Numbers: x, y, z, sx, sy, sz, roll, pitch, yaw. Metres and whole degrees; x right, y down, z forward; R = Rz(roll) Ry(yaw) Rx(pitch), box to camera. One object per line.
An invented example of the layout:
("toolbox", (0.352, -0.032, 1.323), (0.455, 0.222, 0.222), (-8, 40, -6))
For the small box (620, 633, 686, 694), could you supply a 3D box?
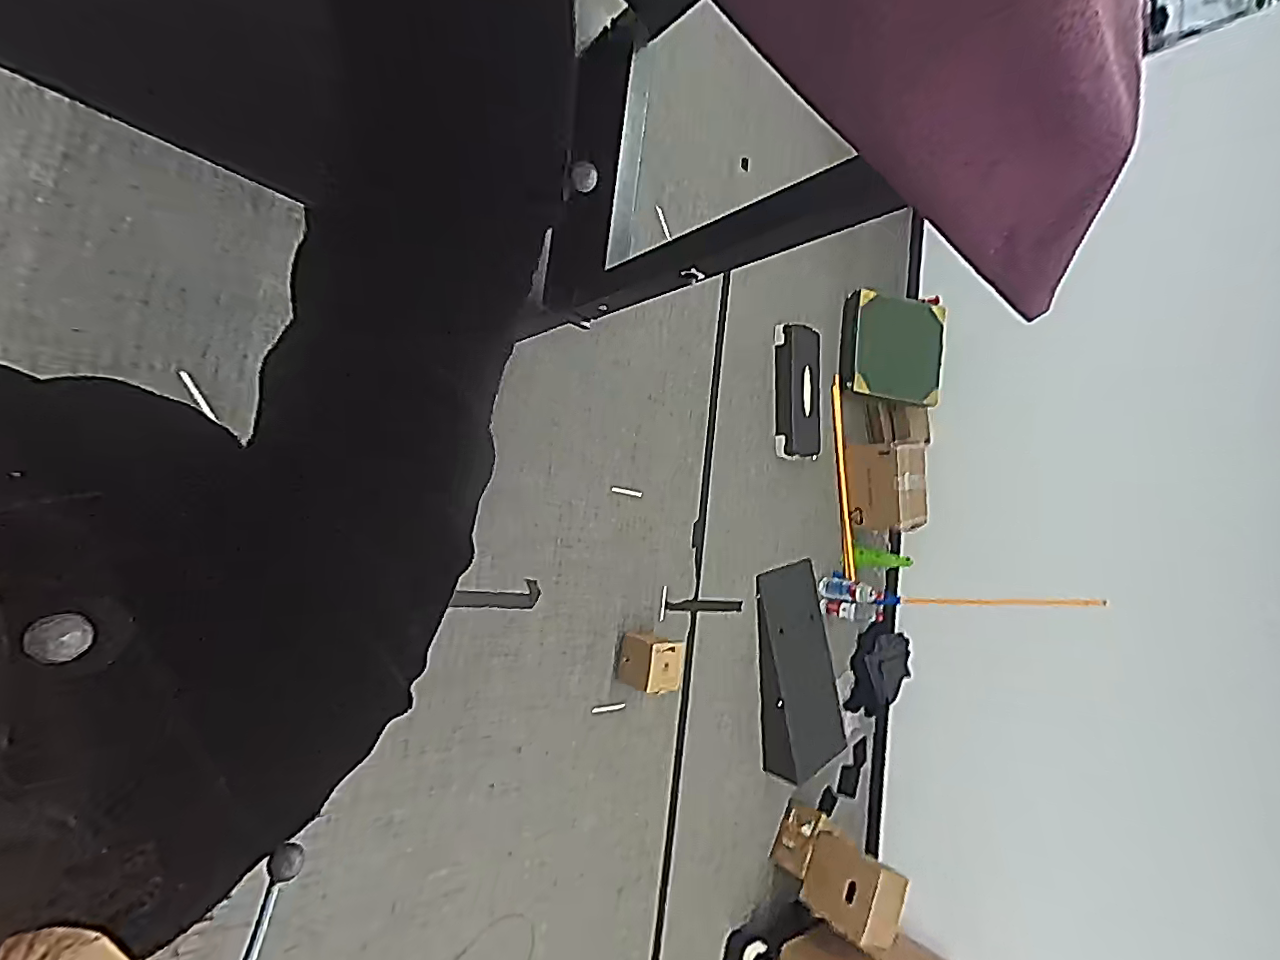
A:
("small box", (0.044, 0.677, 2.009), (0.168, 0.176, 0.179), (14, 82, -42))
